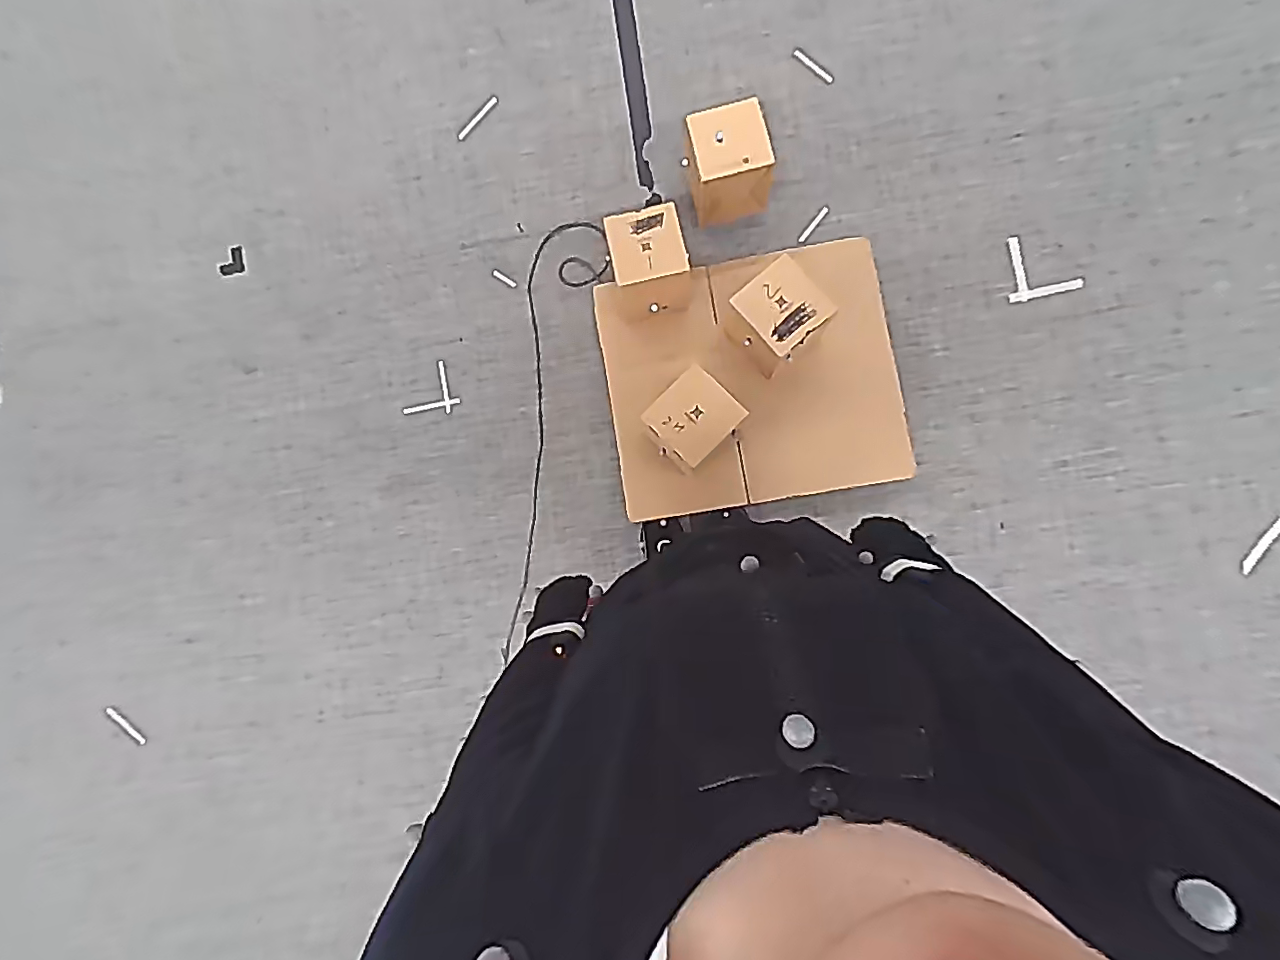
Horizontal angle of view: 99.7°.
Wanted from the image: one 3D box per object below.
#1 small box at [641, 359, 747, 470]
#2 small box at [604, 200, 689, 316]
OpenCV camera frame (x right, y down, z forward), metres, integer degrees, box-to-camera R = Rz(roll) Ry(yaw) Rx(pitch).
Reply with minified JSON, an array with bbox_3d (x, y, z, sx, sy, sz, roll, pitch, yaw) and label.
[{"bbox_3d":[0.118,-0.143,1.252,0.179,0.176,0.168,-44,84,-1],"label":"small box"},{"bbox_3d":[0.017,-0.520,1.286,0.168,0.176,0.179,-12,81,2],"label":"small box"}]
